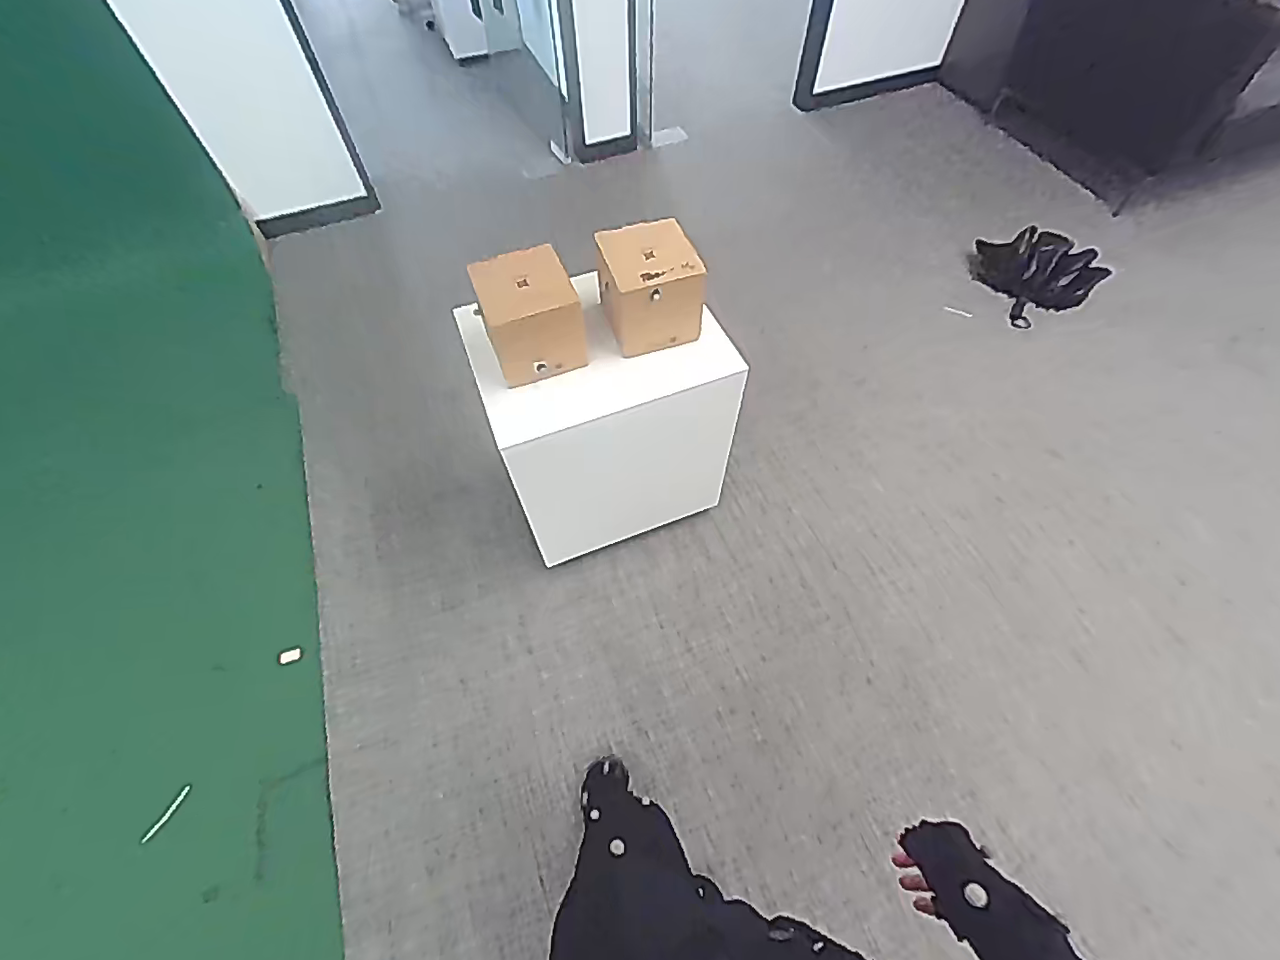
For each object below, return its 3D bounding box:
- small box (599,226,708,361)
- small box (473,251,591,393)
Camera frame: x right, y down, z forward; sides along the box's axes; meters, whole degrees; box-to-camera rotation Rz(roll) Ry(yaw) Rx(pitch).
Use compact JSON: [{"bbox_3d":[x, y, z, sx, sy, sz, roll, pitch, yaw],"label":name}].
[{"bbox_3d":[0.022,-0.367,1.073,0.168,0.176,0.179,-16,59,-8],"label":"small box"},{"bbox_3d":[-0.203,-0.300,1.039,0.168,0.176,0.179,-21,62,-10],"label":"small box"}]
